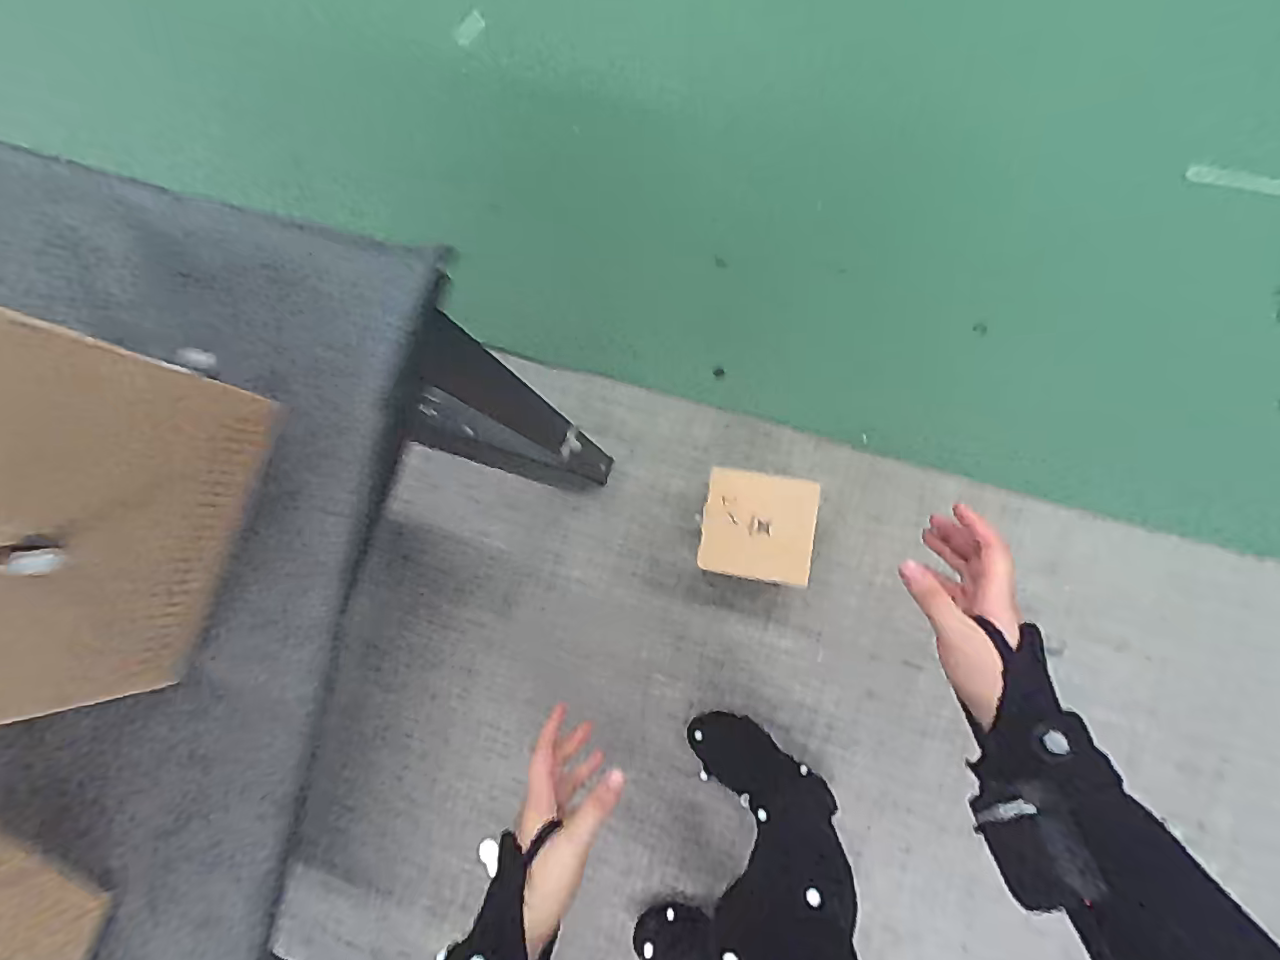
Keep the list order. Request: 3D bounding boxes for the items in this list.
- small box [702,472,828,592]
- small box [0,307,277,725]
[{"bbox_3d":[0.206,0.089,0.925,0.179,0.176,0.168,9,83,8],"label":"small box"},{"bbox_3d":[-0.325,0.004,0.262,0.168,0.176,0.179,18,87,13],"label":"small box"}]
